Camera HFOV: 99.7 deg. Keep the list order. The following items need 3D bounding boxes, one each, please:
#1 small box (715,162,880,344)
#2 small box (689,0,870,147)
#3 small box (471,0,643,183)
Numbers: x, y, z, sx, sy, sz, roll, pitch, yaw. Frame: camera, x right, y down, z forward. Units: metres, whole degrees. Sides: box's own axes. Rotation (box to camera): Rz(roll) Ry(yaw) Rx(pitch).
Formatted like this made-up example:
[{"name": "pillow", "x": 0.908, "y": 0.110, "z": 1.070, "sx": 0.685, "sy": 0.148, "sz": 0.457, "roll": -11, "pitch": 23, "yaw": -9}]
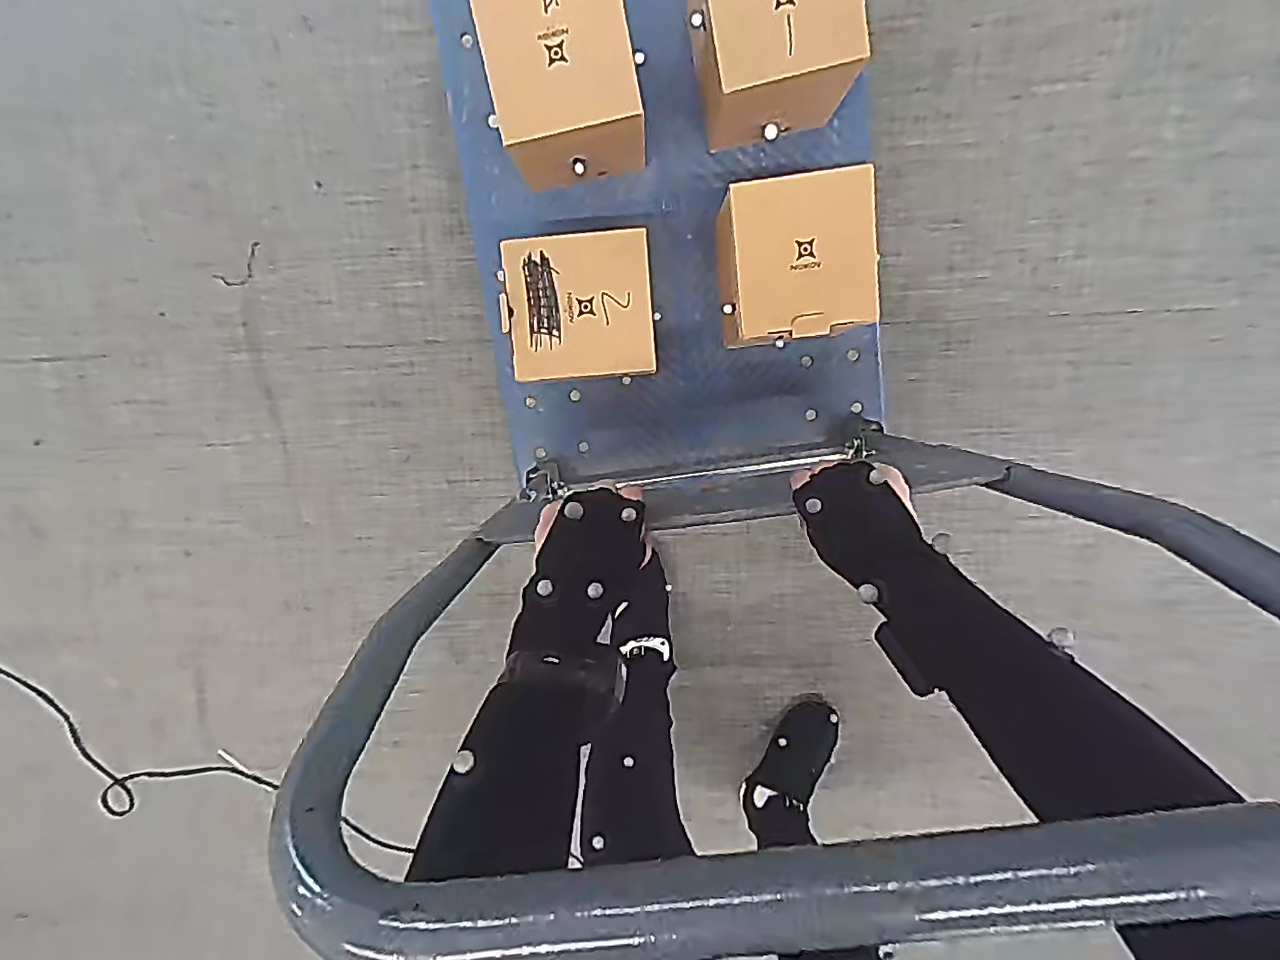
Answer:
[{"name": "small box", "x": 0.194, "y": -0.280, "z": 0.705, "sx": 0.168, "sy": 0.176, "sz": 0.179, "roll": -7, "pitch": 101, "yaw": 3}, {"name": "small box", "x": 0.156, "y": -0.543, "z": 0.654, "sx": 0.168, "sy": 0.176, "sz": 0.179, "roll": -11, "pitch": 101, "yaw": 5}, {"name": "small box", "x": -0.091, "y": -0.493, "z": 0.672, "sx": 0.168, "sy": 0.176, "sz": 0.179, "roll": -11, "pitch": 100, "yaw": 3}]
